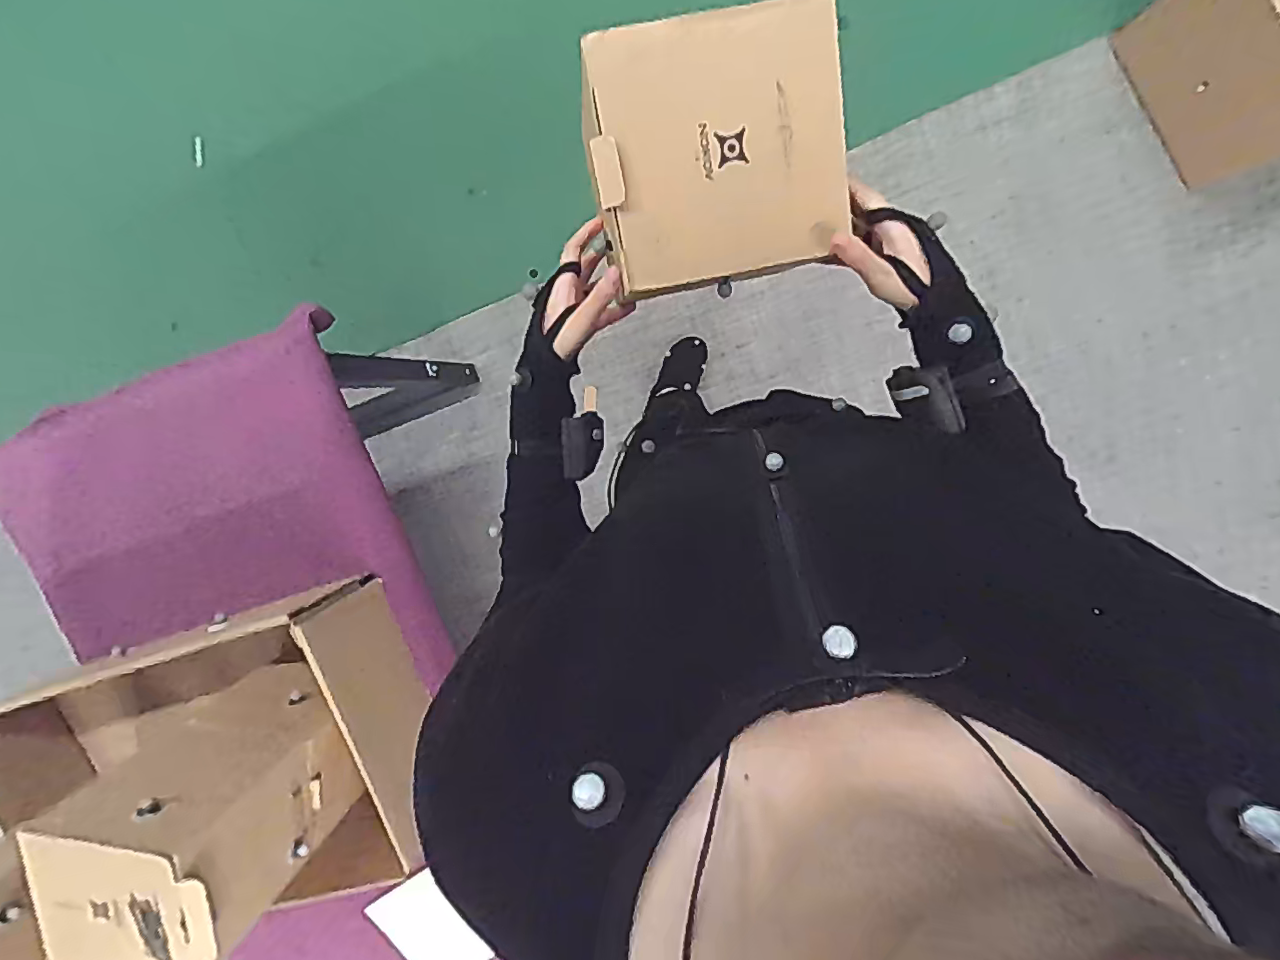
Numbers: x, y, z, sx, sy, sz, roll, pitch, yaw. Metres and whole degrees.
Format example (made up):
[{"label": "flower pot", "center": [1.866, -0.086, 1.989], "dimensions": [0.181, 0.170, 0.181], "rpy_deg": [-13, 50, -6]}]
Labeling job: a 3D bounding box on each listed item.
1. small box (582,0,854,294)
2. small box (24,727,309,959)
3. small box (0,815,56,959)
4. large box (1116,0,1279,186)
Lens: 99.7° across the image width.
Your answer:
[{"label": "small box", "center": [0.055, -0.257, 0.452], "dimensions": [0.179, 0.176, 0.168], "rpy_deg": [-11, 106, -2]}, {"label": "small box", "center": [-0.504, 0.405, 0.608], "dimensions": [0.179, 0.176, 0.168], "rpy_deg": [3, 101, 8]}, {"label": "small box", "center": [-0.746, 0.541, 0.665], "dimensions": [0.168, 0.176, 0.179], "rpy_deg": [-20, 96, 8]}, {"label": "large box", "center": [1.287, -0.892, 1.062], "dimensions": [0.320, 0.320, 0.408], "rpy_deg": [-34, 93, 10]}]
